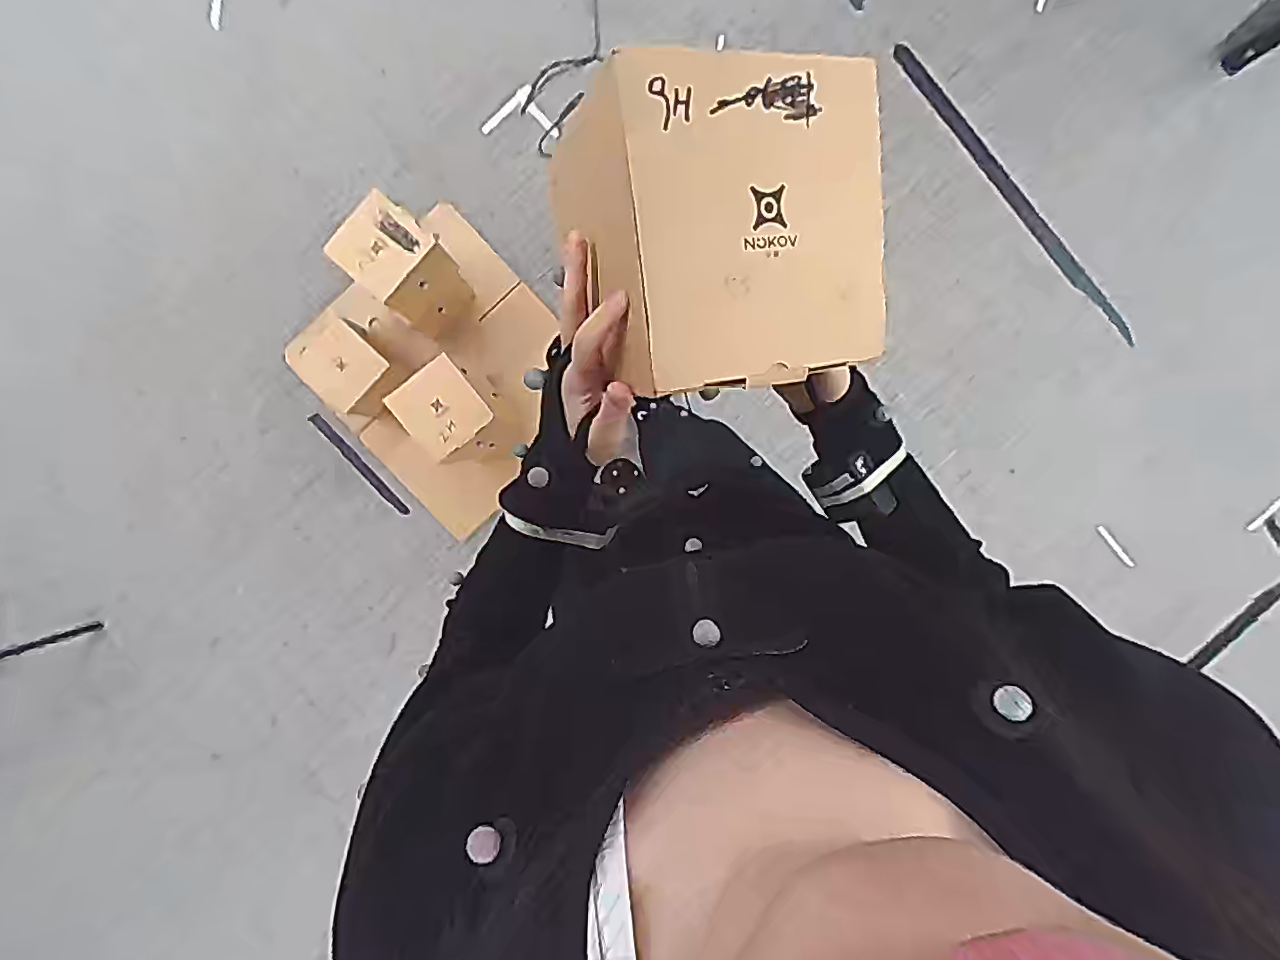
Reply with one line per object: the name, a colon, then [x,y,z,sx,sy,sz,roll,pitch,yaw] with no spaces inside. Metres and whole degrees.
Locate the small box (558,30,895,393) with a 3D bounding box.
small box: [0.048,-0.162,0.378,0.168,0.176,0.179,-11,105,-19]

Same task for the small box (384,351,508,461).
small box: [-0.420,-0.156,1.204,0.168,0.176,0.179,-38,95,0]

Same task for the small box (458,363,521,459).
small box: [-0.427,-0.167,1.368,0.168,0.176,0.179,-40,95,0]

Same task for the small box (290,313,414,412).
small box: [-0.710,-0.282,1.352,0.179,0.176,0.168,42,93,-3]

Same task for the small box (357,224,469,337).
small box: [-0.551,-0.488,1.348,0.168,0.176,0.179,43,91,-3]
